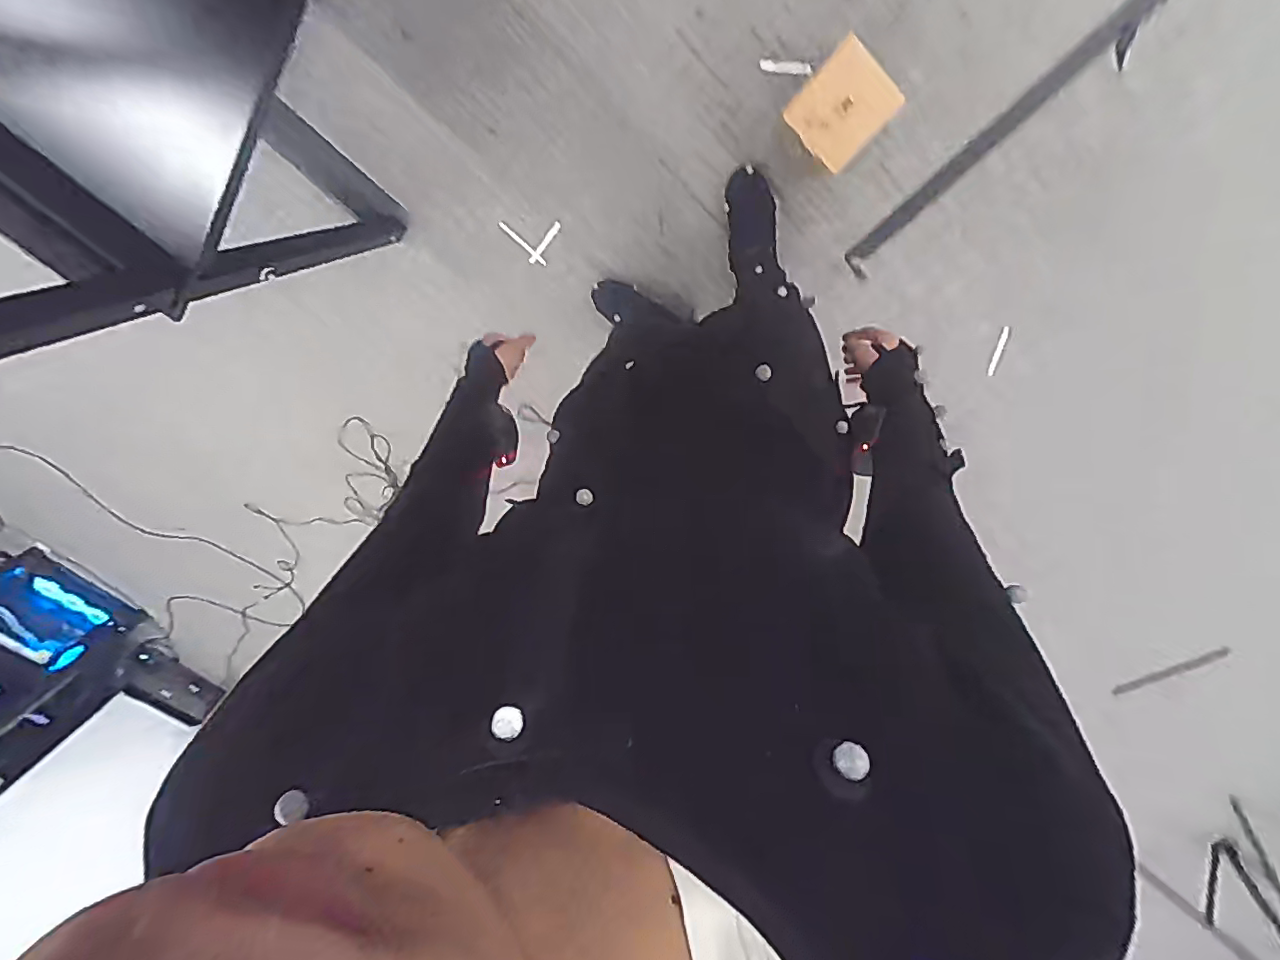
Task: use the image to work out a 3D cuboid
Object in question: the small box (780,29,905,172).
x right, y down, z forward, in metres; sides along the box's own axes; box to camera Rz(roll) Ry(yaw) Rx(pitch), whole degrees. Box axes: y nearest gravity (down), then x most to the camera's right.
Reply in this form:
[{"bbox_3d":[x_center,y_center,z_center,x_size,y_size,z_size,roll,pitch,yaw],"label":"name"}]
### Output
[{"bbox_3d":[0.410,-0.784,1.132,0.168,0.176,0.179,40,121,-14],"label":"small box"}]
